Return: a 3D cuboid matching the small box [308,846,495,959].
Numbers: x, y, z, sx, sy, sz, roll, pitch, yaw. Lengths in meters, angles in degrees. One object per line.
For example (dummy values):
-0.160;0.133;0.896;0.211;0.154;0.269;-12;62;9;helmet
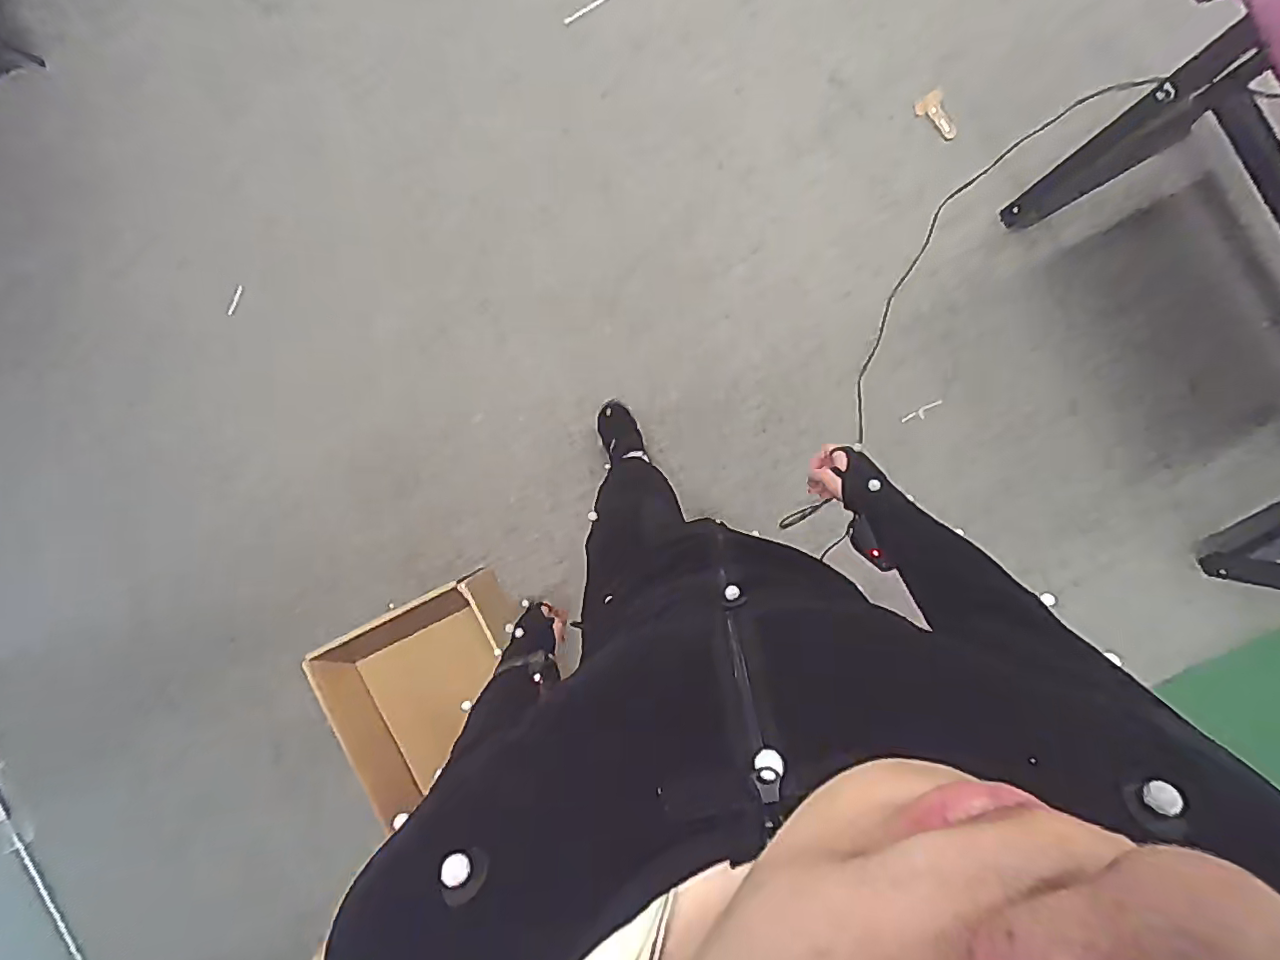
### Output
-0.352;0.714;0.828;0.179;0.176;0.168;-23;90;5;small box
